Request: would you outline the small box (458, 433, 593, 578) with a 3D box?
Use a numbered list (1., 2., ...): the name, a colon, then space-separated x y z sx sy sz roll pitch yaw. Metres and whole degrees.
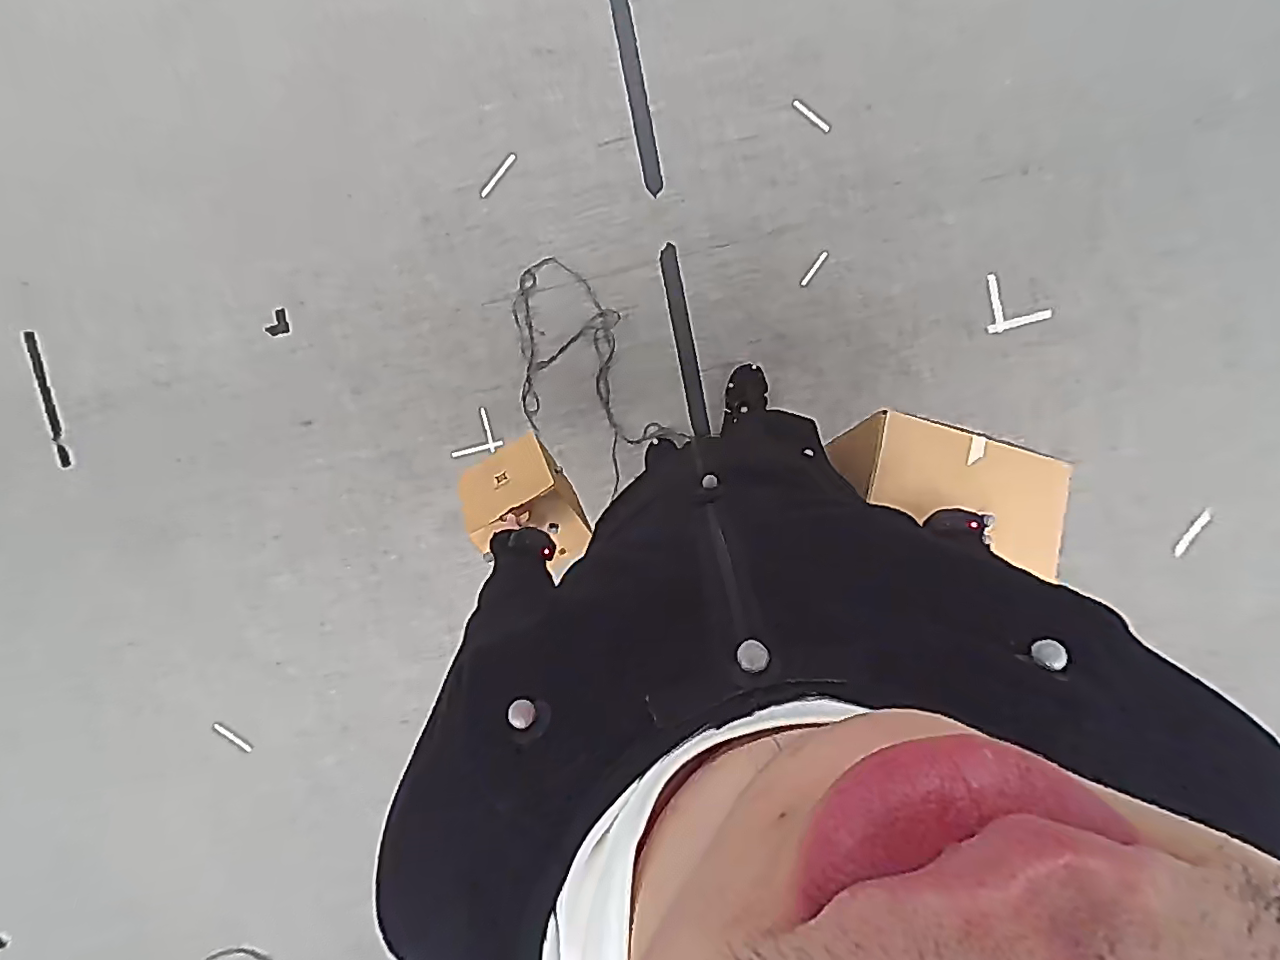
1. small box: -0.205 0.054 0.985 0.168 0.179 0.176 -30 133 -2
